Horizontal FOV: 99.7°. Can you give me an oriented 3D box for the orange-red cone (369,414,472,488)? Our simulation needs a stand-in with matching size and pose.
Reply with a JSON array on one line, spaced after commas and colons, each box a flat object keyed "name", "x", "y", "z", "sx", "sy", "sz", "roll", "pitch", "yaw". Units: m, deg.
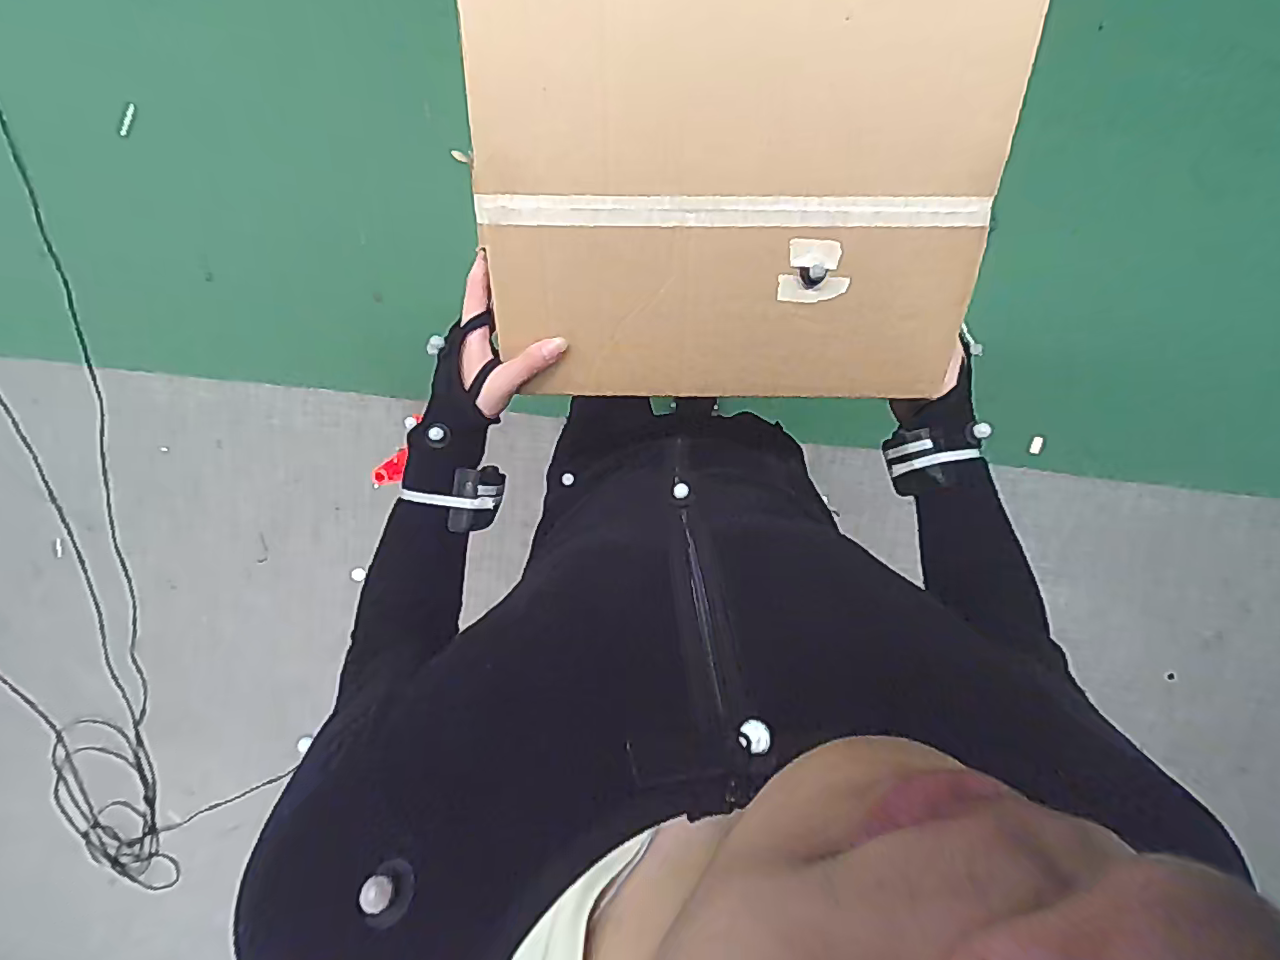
[{"name": "orange-red cone", "x": -0.628, "y": -0.051, "z": 1.475, "sx": 0.199, "sy": 0.360, "sz": 0.198, "roll": 14, "pitch": 103, "yaw": 1}]

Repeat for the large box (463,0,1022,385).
[{"name": "large box", "x": 0.071, "y": -0.296, "z": 0.570, "sx": 0.408, "sy": 0.320, "sz": 0.320, "roll": 0, "pitch": 118, "yaw": -1}]

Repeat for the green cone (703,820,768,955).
[{"name": "green cone", "x": 0.334, "y": 1.349, "z": 1.763, "sx": 0.200, "sy": 0.368, "sz": 0.202, "roll": 12, "pitch": 102, "yaw": -1}]
